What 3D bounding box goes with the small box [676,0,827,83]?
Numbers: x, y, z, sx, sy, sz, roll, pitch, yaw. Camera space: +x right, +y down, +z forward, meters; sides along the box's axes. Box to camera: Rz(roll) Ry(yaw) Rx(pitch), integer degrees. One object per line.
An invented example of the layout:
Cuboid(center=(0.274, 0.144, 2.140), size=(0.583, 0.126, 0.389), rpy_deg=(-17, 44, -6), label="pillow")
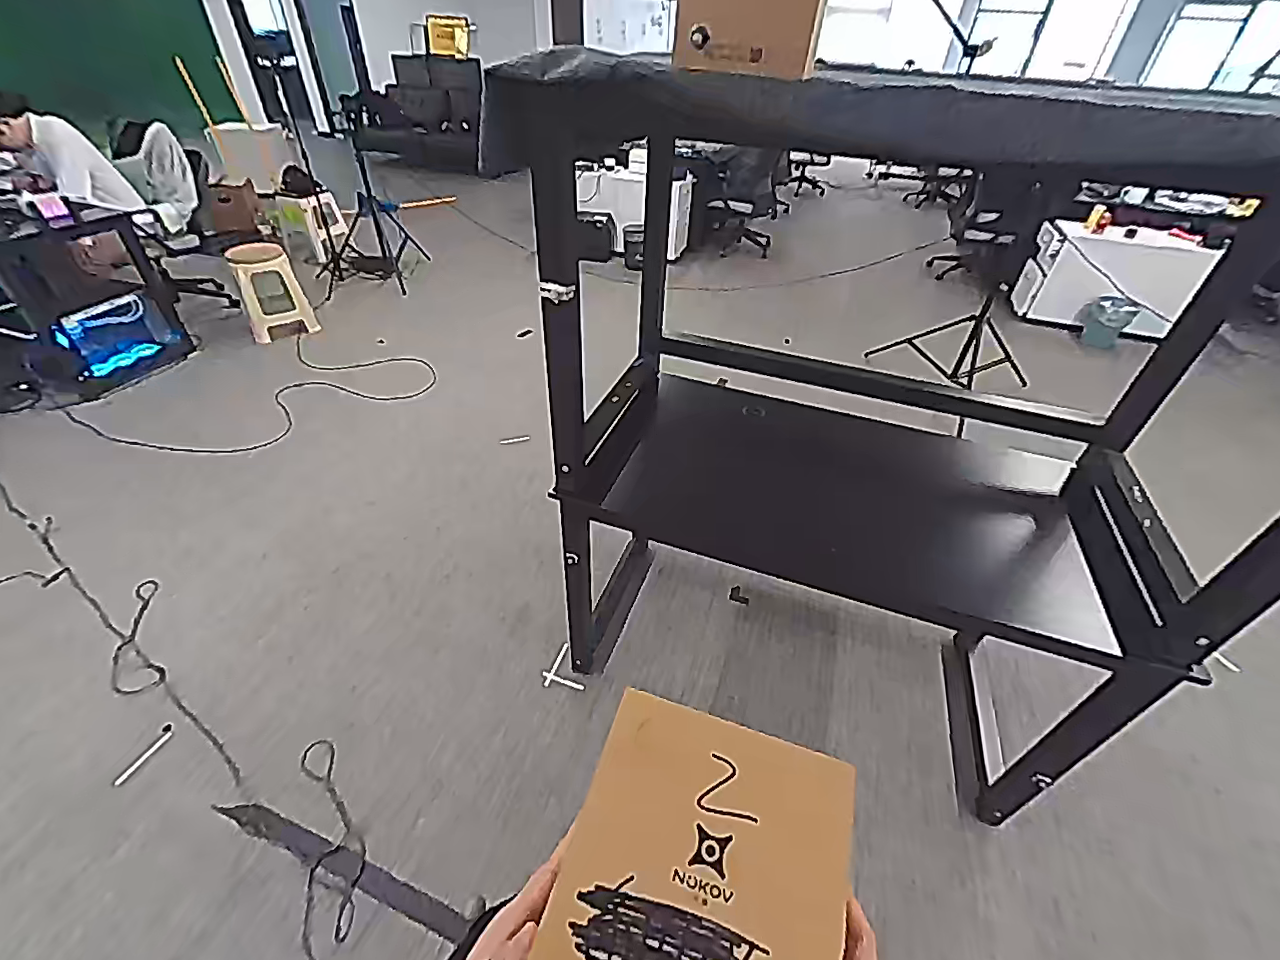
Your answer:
Cuboid(center=(0.146, -0.605, 0.674), size=(0.168, 0.176, 0.179), rpy_deg=(14, 39, 11), label="small box")
